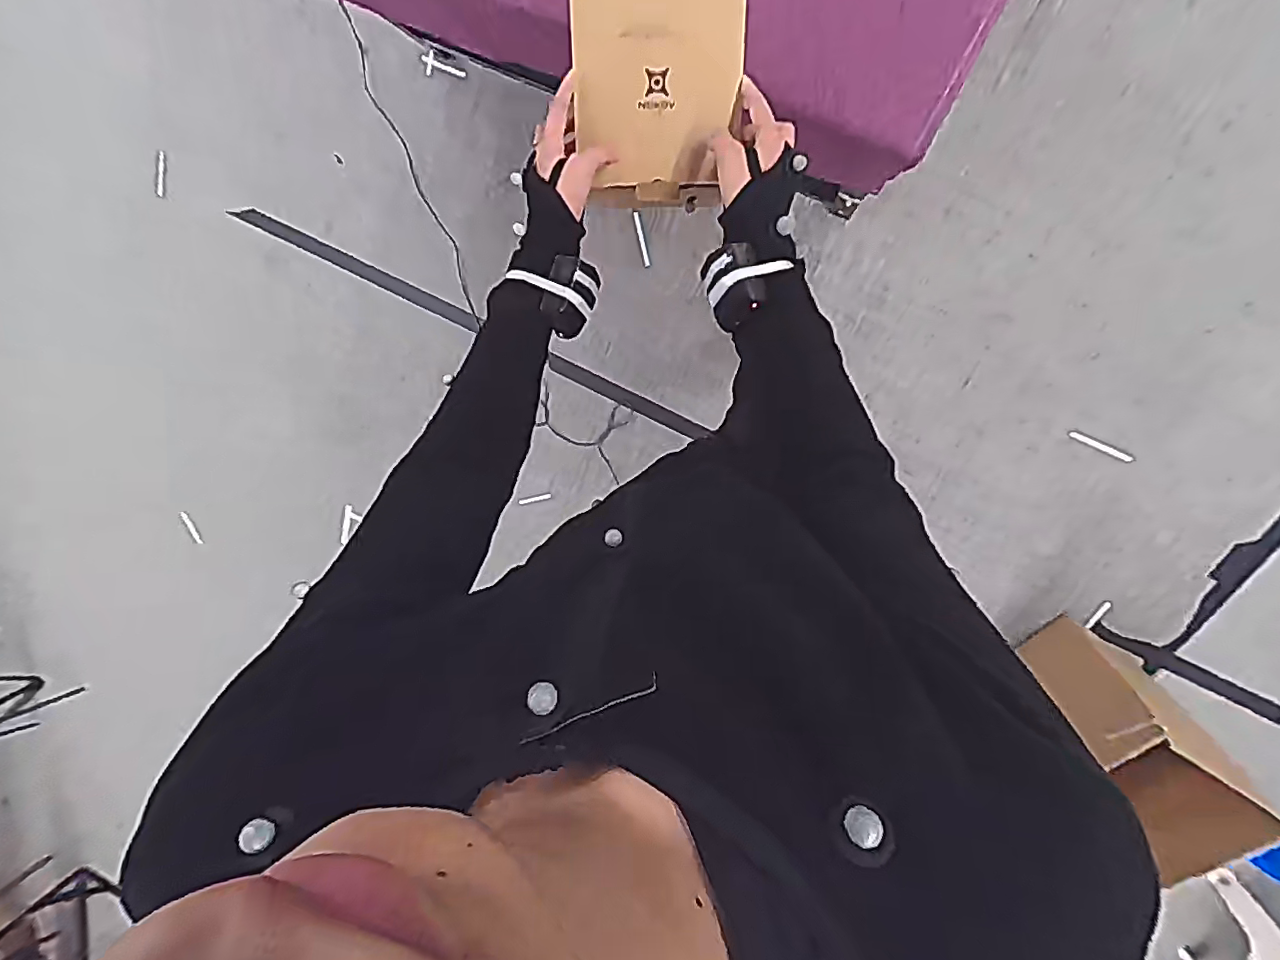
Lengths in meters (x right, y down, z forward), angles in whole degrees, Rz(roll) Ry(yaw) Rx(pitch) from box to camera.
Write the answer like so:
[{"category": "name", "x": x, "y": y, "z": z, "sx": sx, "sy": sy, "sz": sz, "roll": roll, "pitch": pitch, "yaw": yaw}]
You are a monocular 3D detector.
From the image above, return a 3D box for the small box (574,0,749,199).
[{"category": "small box", "x": 0.024, "y": -0.416, "z": 0.597, "sx": 0.168, "sy": 0.176, "sz": 0.179, "roll": 1, "pitch": 110, "yaw": 3}]
